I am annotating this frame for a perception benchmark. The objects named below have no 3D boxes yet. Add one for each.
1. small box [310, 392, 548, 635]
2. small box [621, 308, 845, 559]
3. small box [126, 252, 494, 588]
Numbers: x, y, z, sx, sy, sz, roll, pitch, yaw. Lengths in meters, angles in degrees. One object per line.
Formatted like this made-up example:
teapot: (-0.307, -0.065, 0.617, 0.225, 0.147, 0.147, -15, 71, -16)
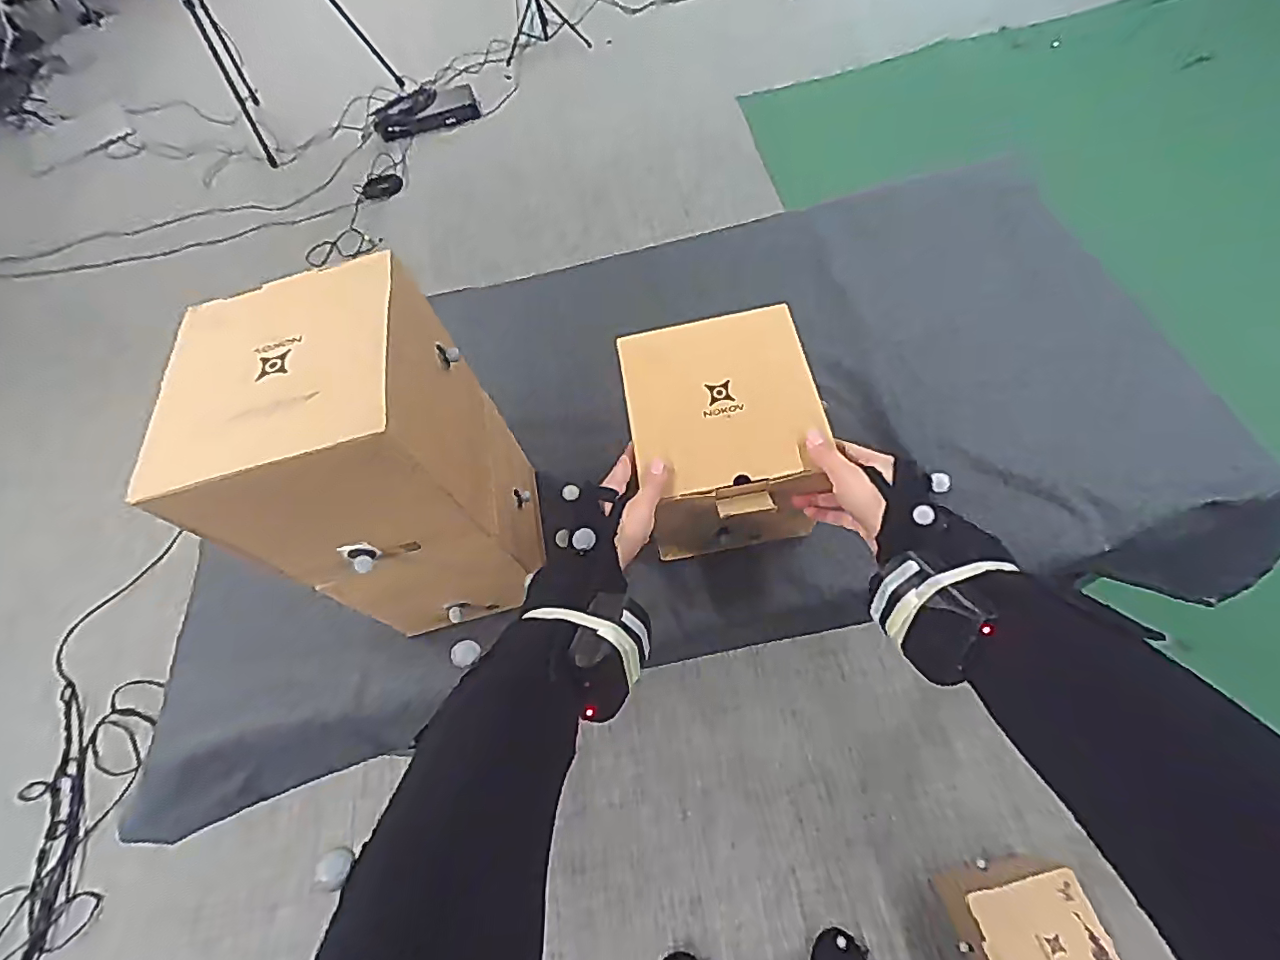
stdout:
small box: (-0.205, 0.042, 0.566, 0.168, 0.176, 0.179, -15, 60, 1)
small box: (0.080, -0.037, 0.541, 0.168, 0.176, 0.179, -11, 65, 2)
small box: (-0.229, -0.038, 0.426, 0.168, 0.176, 0.179, -16, 60, 2)
